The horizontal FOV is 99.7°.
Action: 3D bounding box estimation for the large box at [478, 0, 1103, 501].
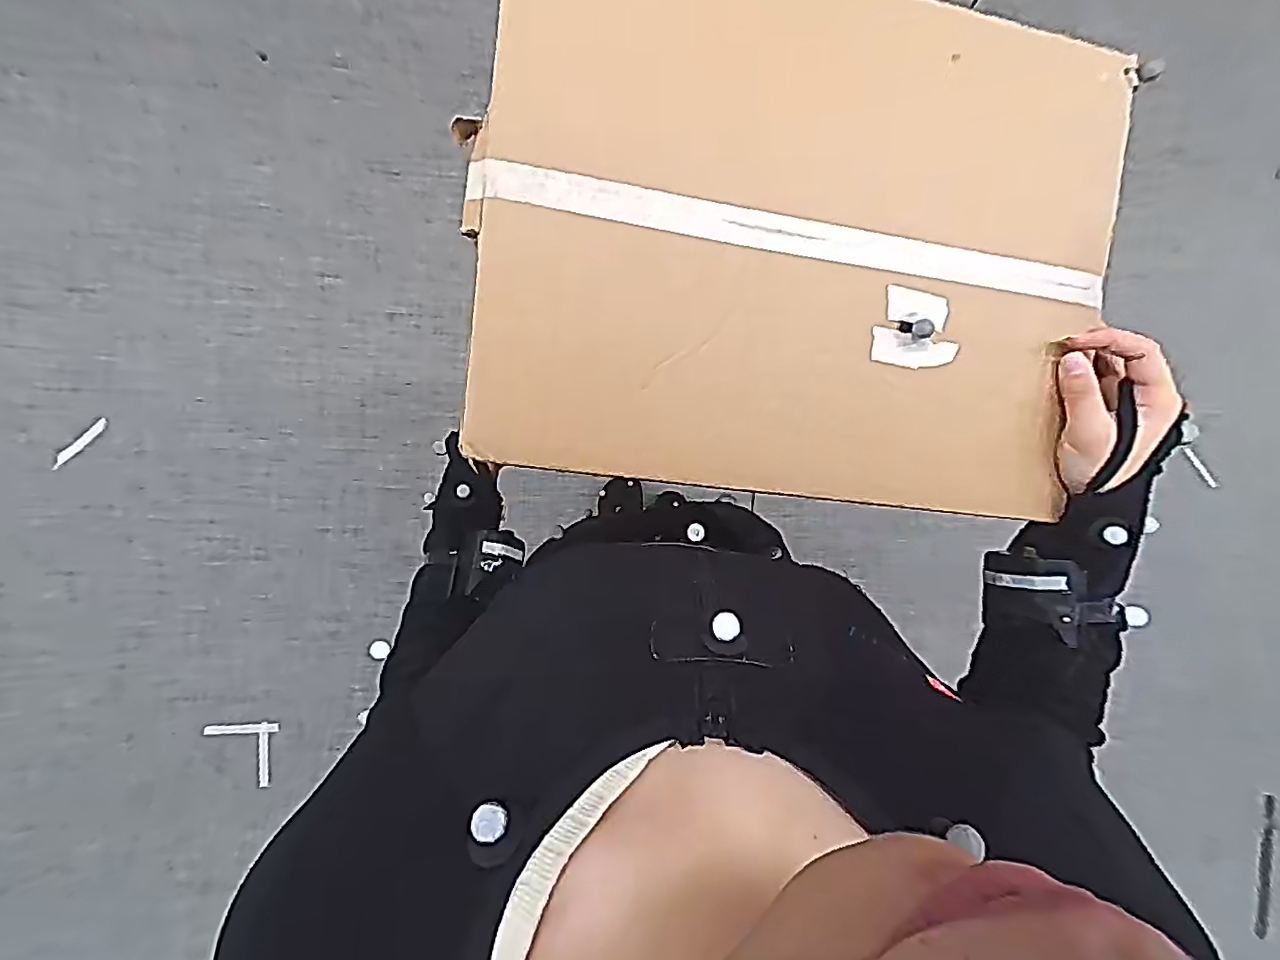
[{"bbox_3d":[0.083,-0.162,0.488,0.408,0.320,0.320,6,94,-11],"label":"large box"}]
